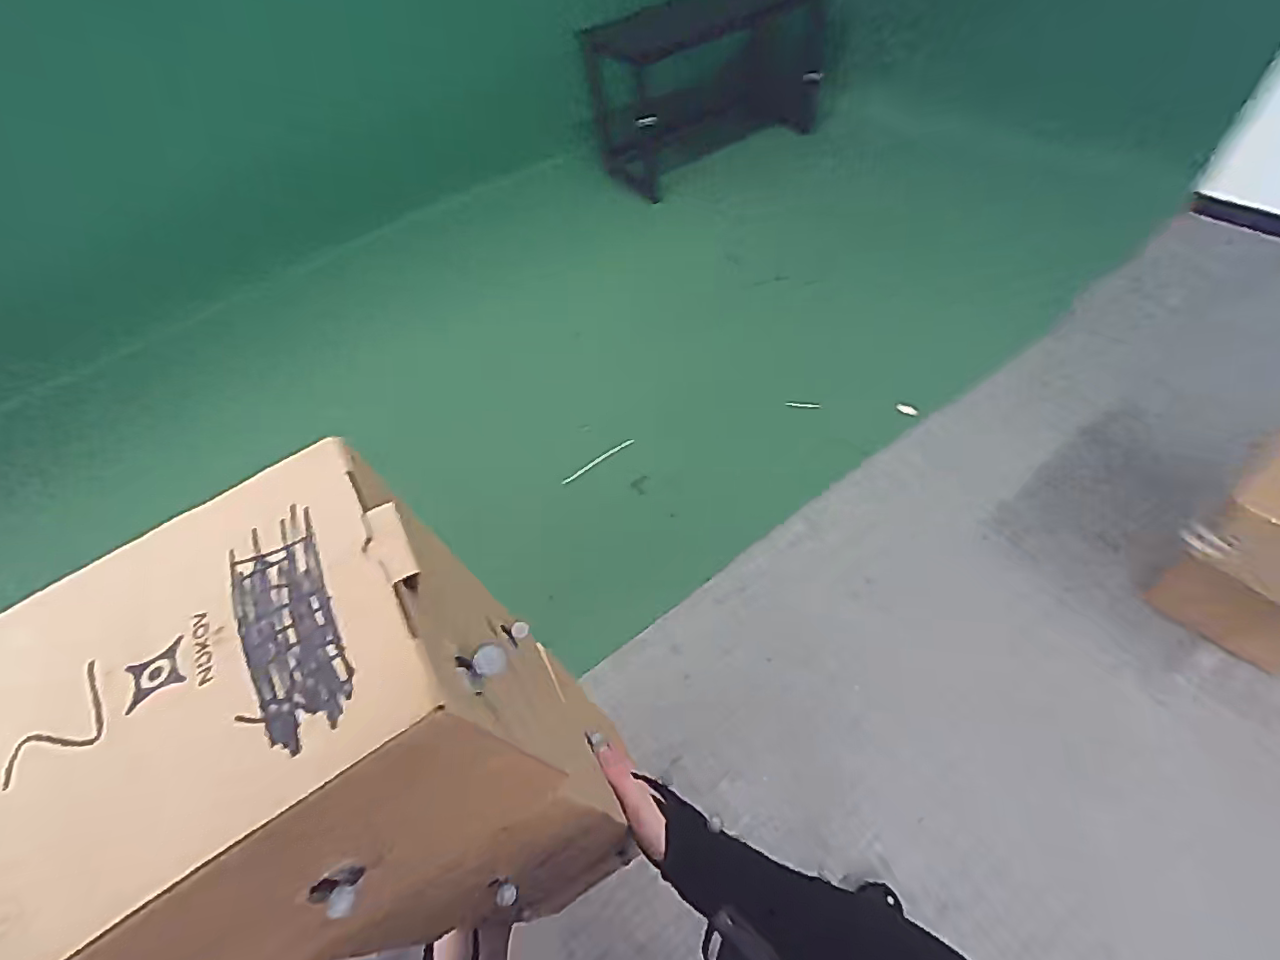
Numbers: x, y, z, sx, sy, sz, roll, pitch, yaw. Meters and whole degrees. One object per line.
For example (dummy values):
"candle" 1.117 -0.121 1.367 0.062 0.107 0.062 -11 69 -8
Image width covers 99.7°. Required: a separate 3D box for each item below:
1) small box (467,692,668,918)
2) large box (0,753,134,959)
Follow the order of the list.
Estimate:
"small box" -0.082 0.402 0.671 0.179 0.176 0.168 -28 53 -10
"large box" -0.935 0.588 0.628 0.408 0.320 0.320 -33 57 -15
